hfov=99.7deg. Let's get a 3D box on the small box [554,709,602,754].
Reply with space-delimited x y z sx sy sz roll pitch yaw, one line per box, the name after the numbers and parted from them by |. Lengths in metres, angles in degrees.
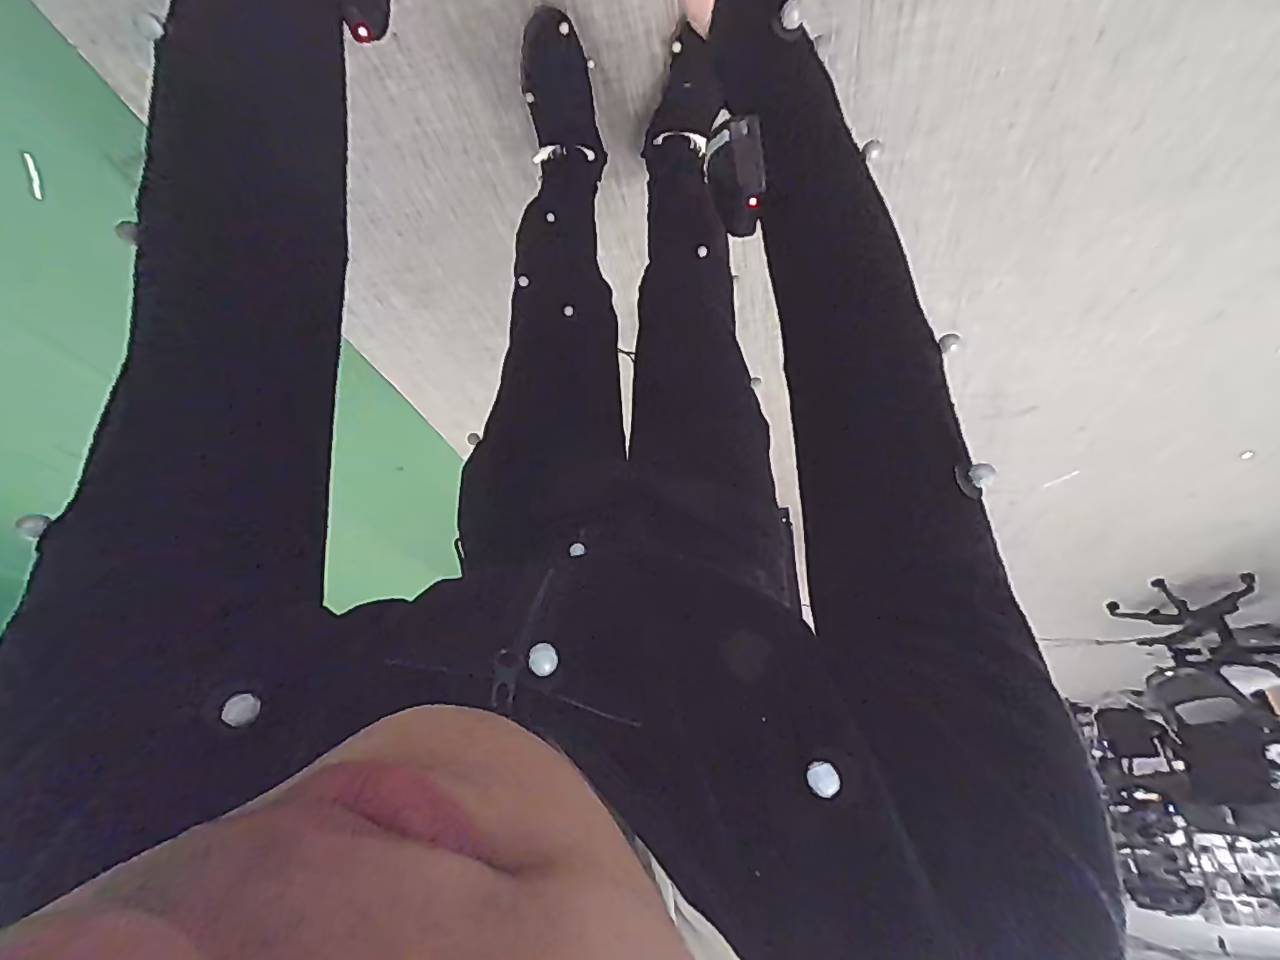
-0.274 1.135 2.434 0.168 0.176 0.179 -8 147 13 | small box
